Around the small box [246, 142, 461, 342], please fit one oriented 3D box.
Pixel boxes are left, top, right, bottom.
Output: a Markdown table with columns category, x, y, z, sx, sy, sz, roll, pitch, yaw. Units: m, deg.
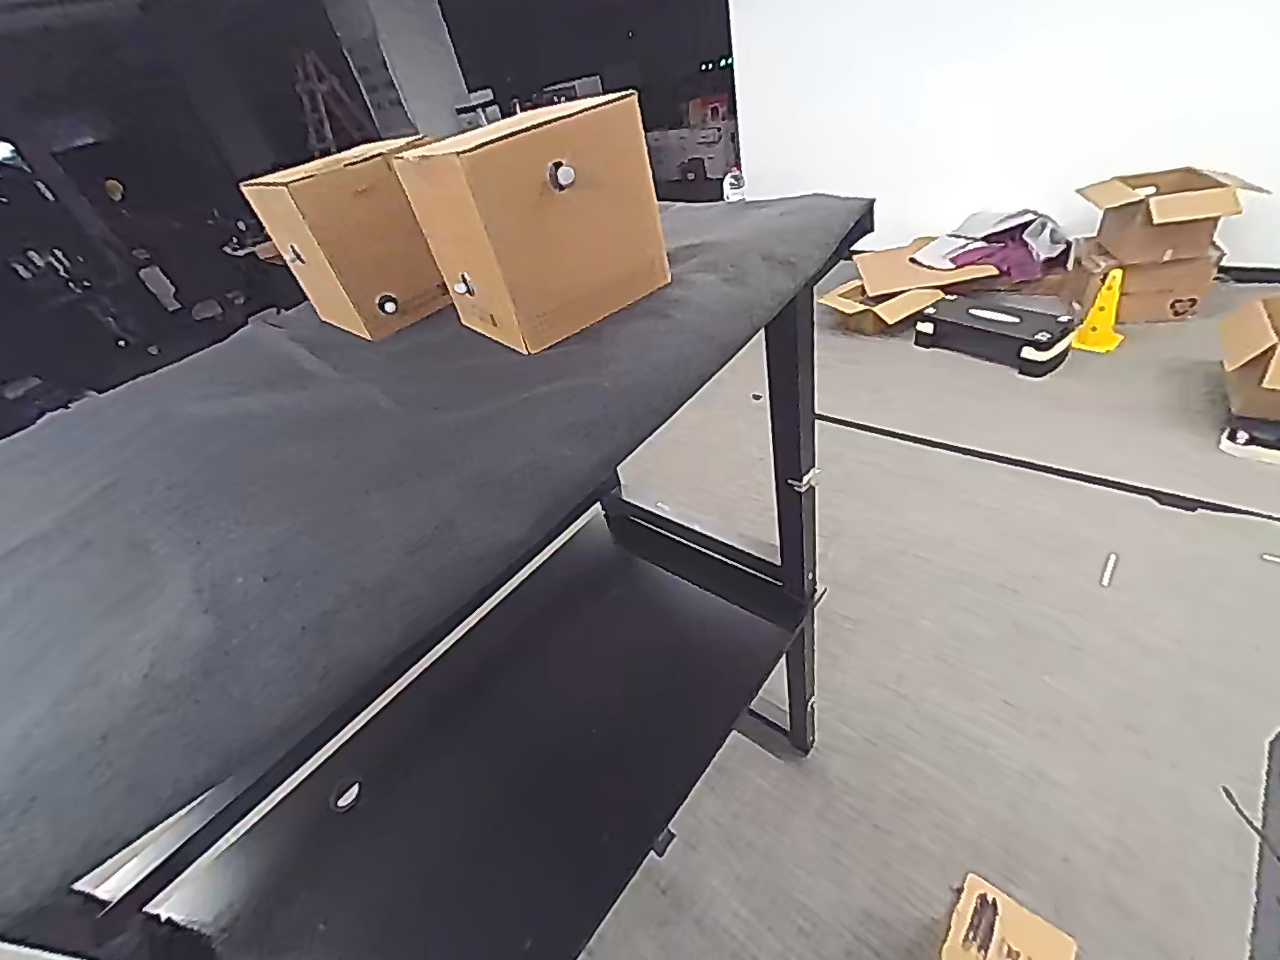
| category | x | y | z | sx | sy | sz | roll | pitch | yaw |
| --- | --- | --- | --- | --- | --- | --- | --- | --- | --- |
| small box | -0.322 | -0.285 | 0.654 | 0.179 | 0.176 | 0.168 | 24 | 53 | 40 |

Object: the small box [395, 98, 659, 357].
| category | x | y | z | sx | sy | sz | roll | pitch | yaw |
| --- | --- | --- | --- | --- | --- | --- | --- | --- | --- |
| small box | -0.098 | -0.246 | 0.530 | 0.179 | 0.176 | 0.168 | -35 | 41 | -21 |

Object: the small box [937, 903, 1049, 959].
| category | x | y | z | sx | sy | sz | roll | pitch | yaw |
| --- | --- | --- | --- | --- | --- | --- | --- | --- | --- |
| small box | 0.694 | 1.012 | 1.083 | 0.168 | 0.176 | 0.179 | 19 | 51 | 36 |
